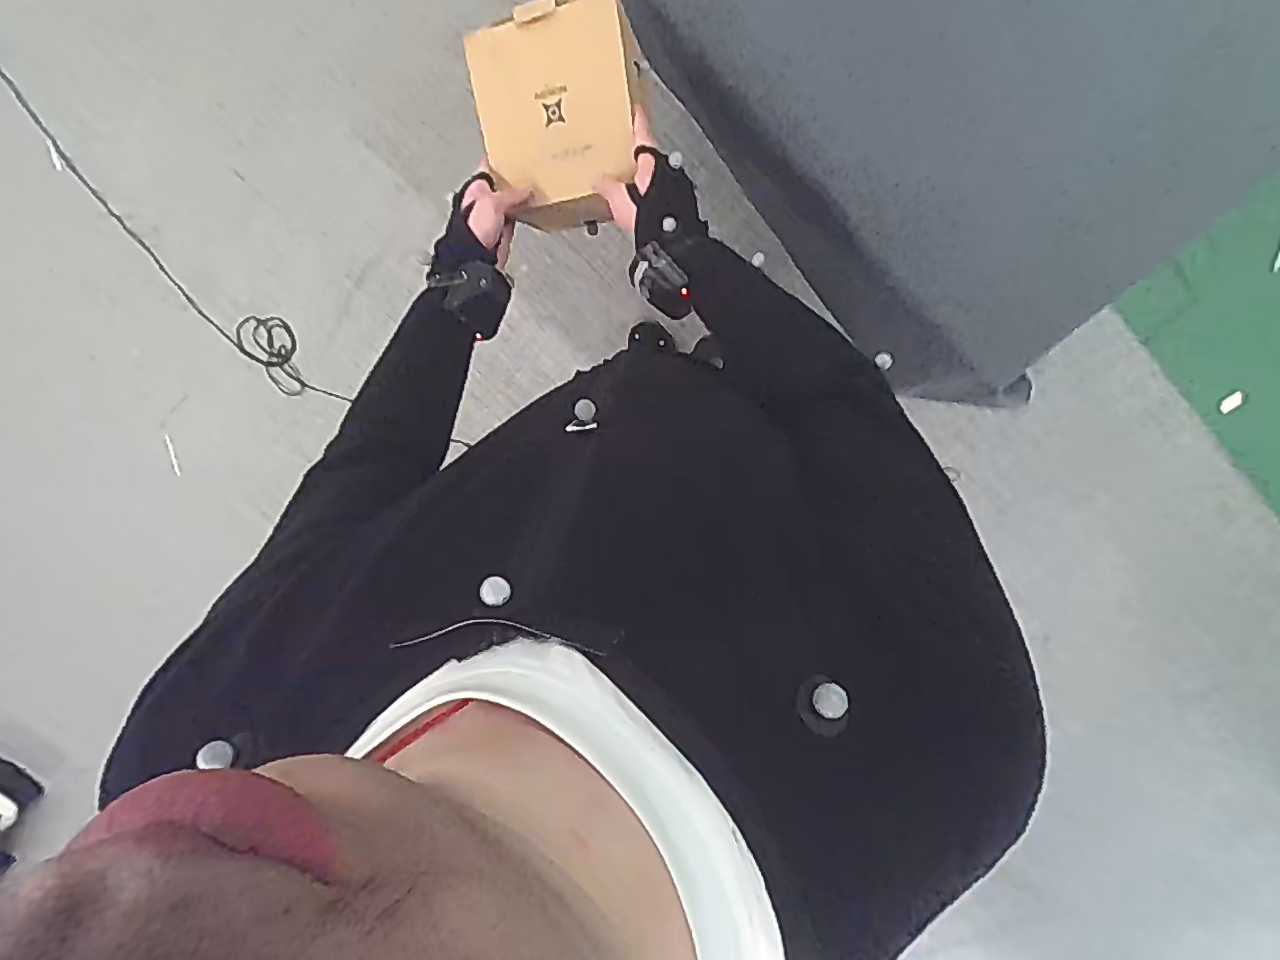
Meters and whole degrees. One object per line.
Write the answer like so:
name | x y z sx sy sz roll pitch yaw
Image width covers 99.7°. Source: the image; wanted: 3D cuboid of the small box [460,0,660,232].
small box | -0.077 -0.400 0.620 0.168 0.176 0.179 -3 107 14
